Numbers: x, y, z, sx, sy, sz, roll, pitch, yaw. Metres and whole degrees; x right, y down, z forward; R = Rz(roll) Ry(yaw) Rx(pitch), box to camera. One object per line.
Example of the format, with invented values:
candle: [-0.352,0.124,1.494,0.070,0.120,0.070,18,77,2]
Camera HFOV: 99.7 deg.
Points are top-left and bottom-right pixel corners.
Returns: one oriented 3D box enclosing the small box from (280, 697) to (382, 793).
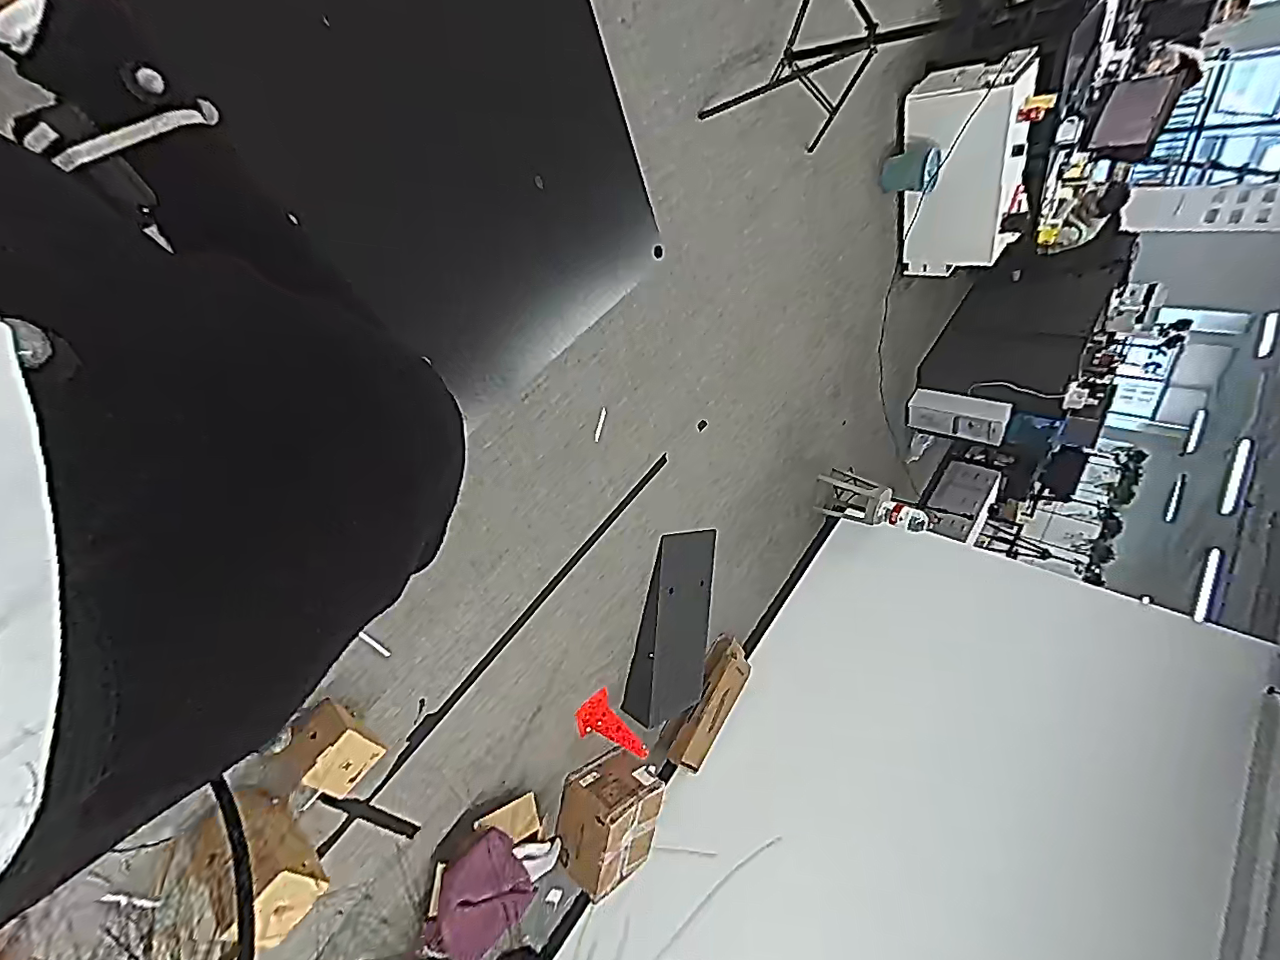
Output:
small box: [-0.912,0.773,1.593,0.168,0.176,0.179,-47,137,-25]

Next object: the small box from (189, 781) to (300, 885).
small box: [-1.087,0.972,1.481,0.179,0.176,0.168,-49,138,-22]

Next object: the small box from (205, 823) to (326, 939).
small box: [-0.962,1.025,1.390,0.168,0.176,0.179,-48,136,-25]
